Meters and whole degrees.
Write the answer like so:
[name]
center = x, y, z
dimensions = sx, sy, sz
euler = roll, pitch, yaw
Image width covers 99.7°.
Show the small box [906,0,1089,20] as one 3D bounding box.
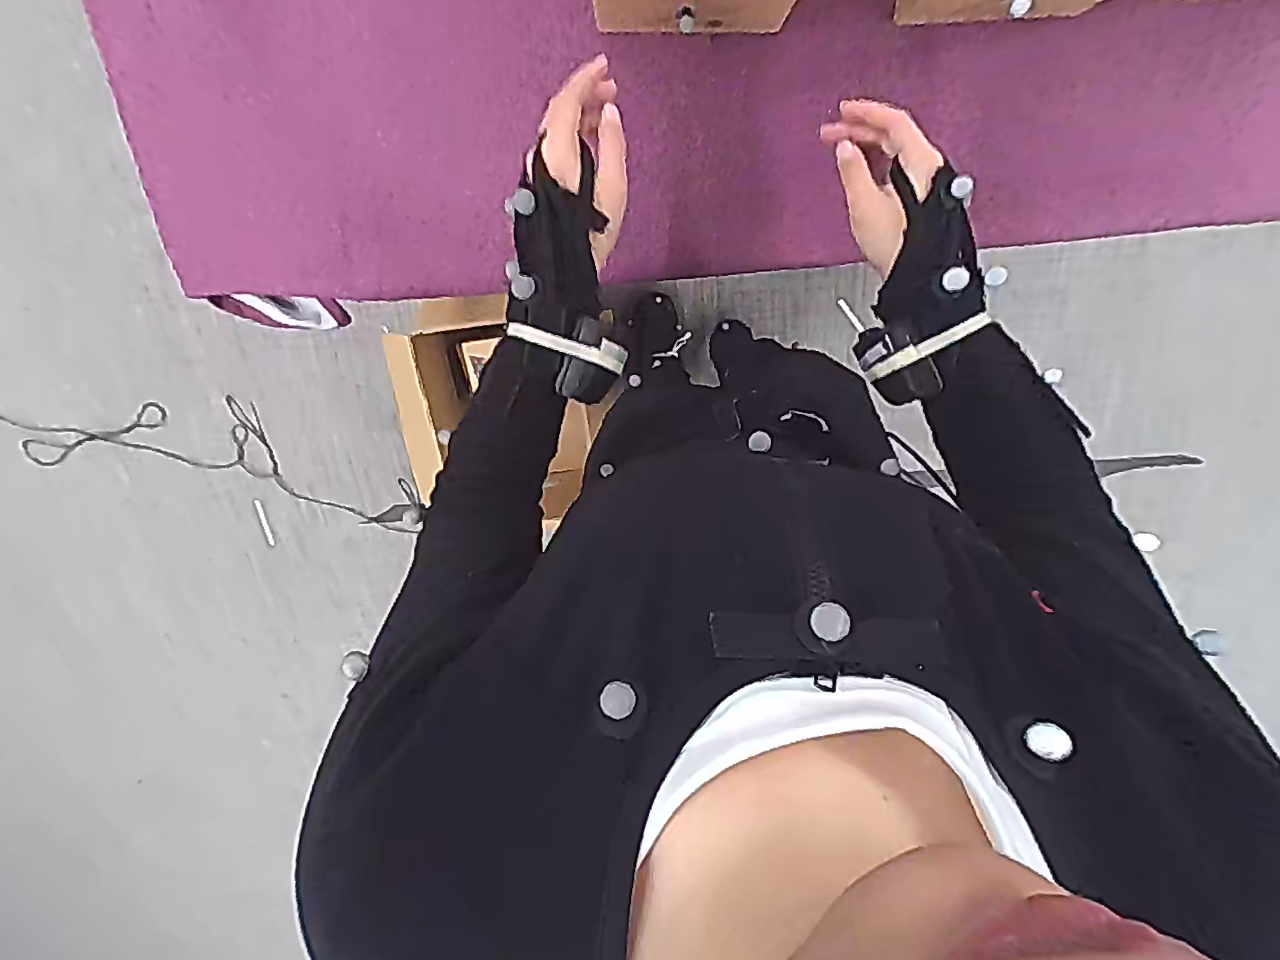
[small box]
center = 0.308, -0.468, 0.379
dimensions = 0.168, 0.176, 0.179
euler = -1, 111, 1
